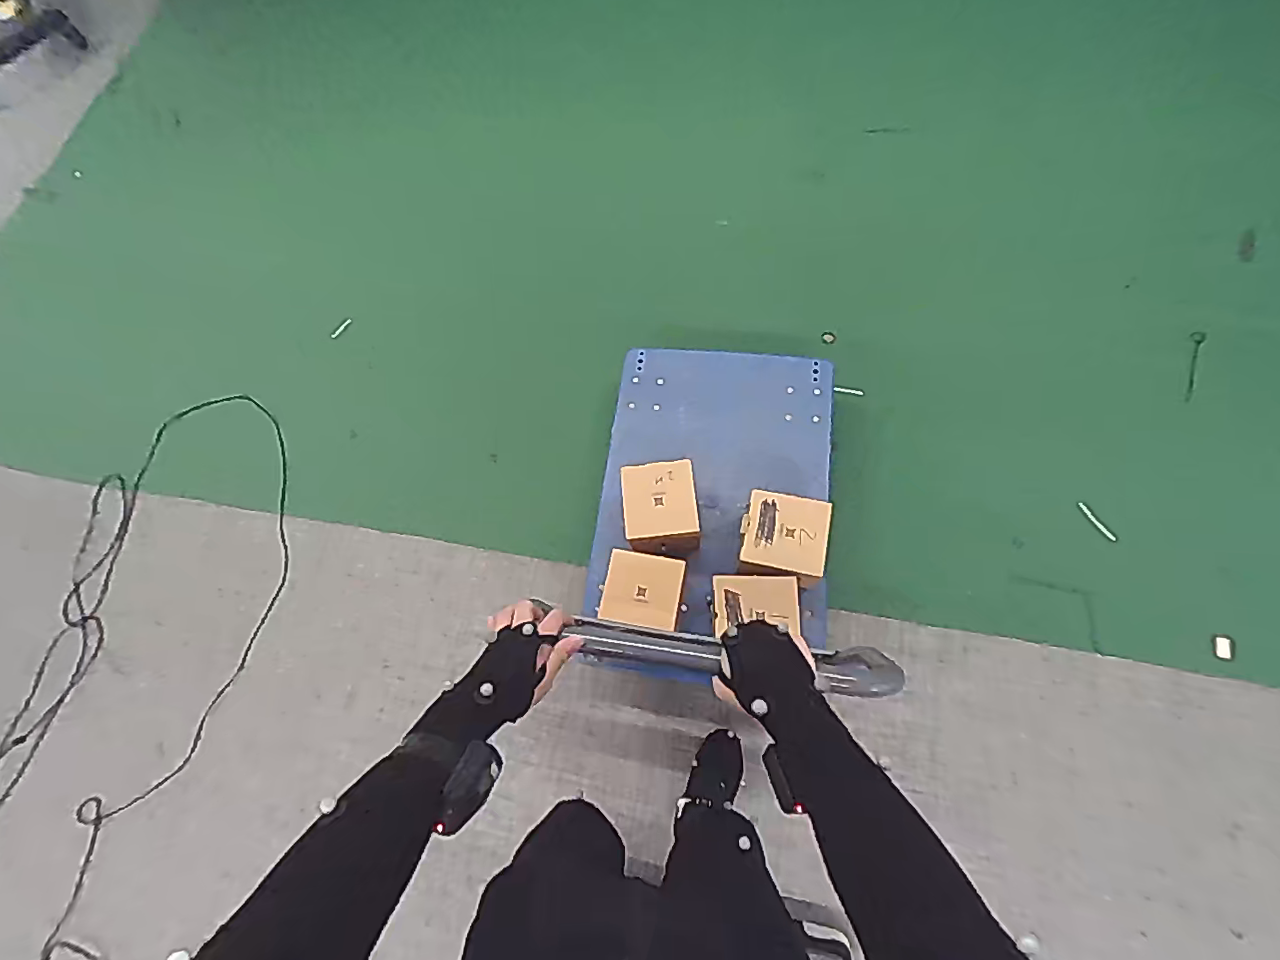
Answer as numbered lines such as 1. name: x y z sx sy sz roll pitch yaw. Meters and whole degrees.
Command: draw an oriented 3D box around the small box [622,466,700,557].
1. small box: 0.052 0.082 1.287 0.168 0.176 0.179 -6 69 4
